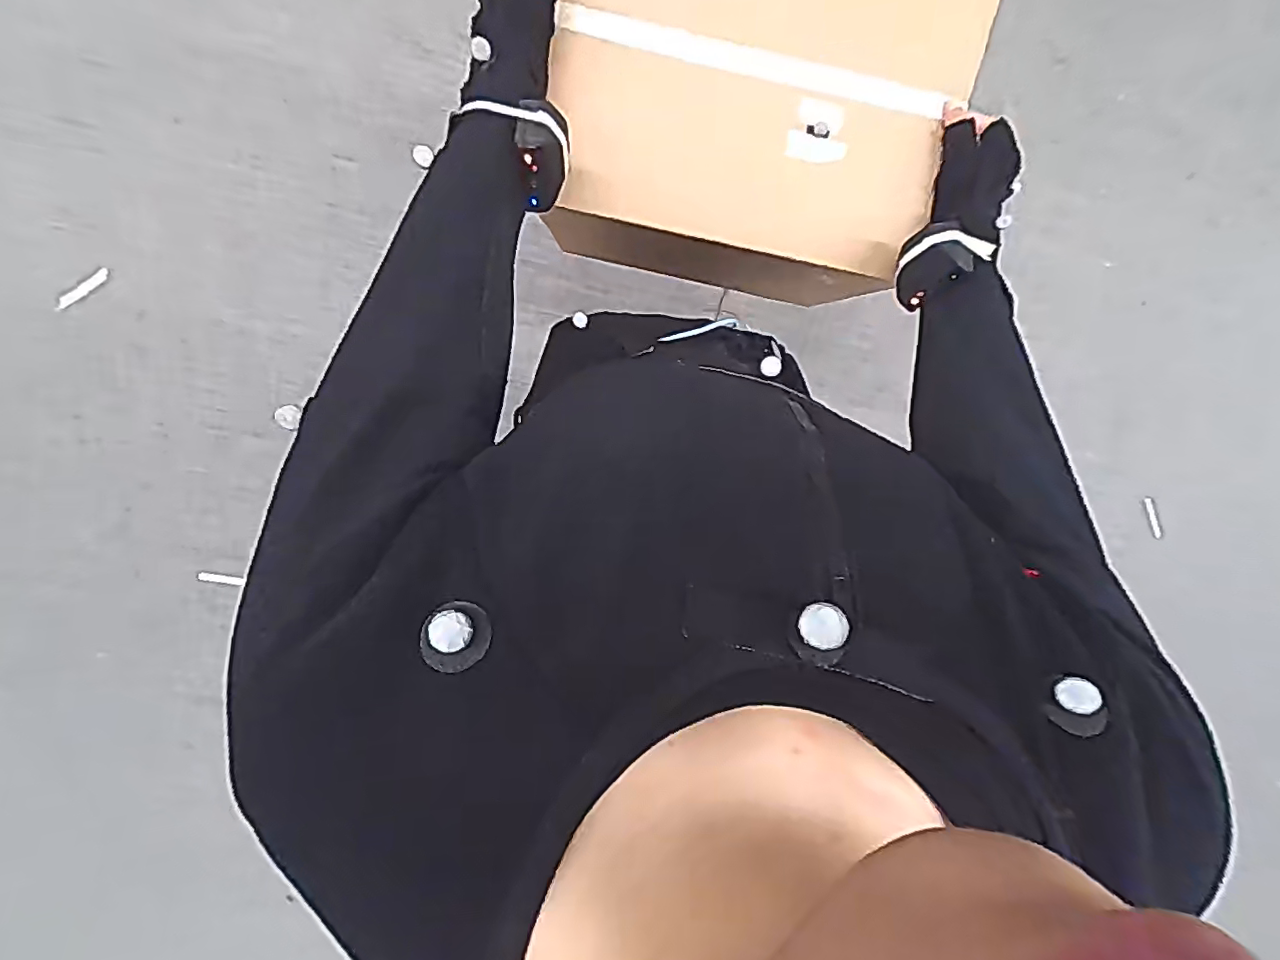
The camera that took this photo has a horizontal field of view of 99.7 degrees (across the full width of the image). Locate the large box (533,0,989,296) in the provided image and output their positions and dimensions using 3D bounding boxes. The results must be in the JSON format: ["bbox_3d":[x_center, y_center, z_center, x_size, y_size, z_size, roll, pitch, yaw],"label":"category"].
[{"bbox_3d":[0.109,-0.433,0.659,0.408,0.320,0.320,11,104,-5],"label":"large box"}]
